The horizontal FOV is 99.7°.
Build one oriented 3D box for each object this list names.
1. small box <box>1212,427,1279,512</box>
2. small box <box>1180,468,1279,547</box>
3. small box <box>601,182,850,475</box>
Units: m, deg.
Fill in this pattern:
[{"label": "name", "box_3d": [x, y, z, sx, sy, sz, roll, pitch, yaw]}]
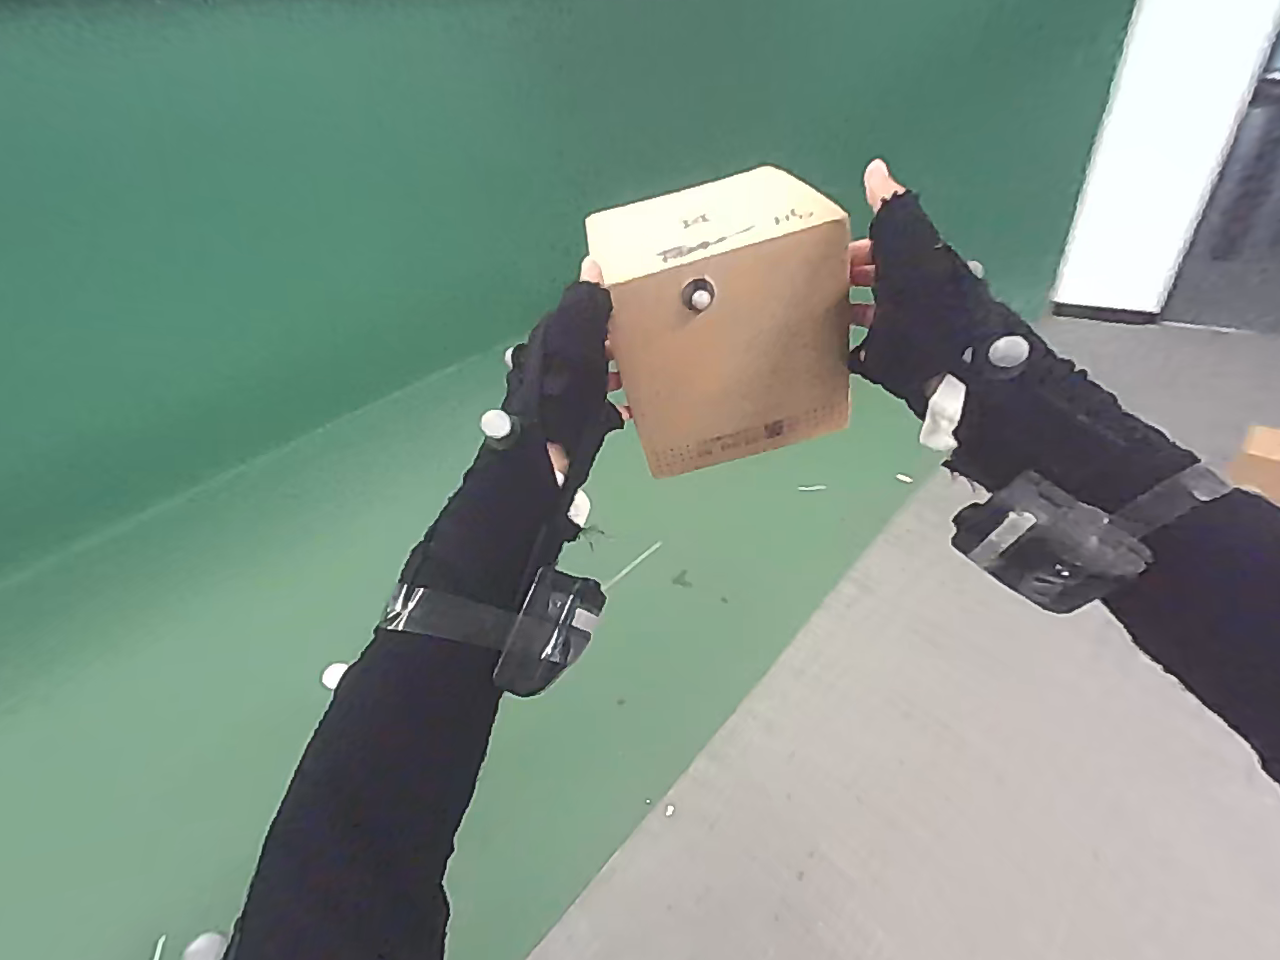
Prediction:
[{"label": "small box", "box_3d": [1.911, -0.033, 1.656, 0.179, 0.176, 0.168, -36, 41, -29]}, {"label": "small box", "box_3d": [1.922, 0.093, 1.756, 0.168, 0.176, 0.179, -35, 41, -29]}, {"label": "small box", "box_3d": [0.067, -0.131, 0.466, 0.168, 0.176, 0.179, -15, 38, 5]}]
